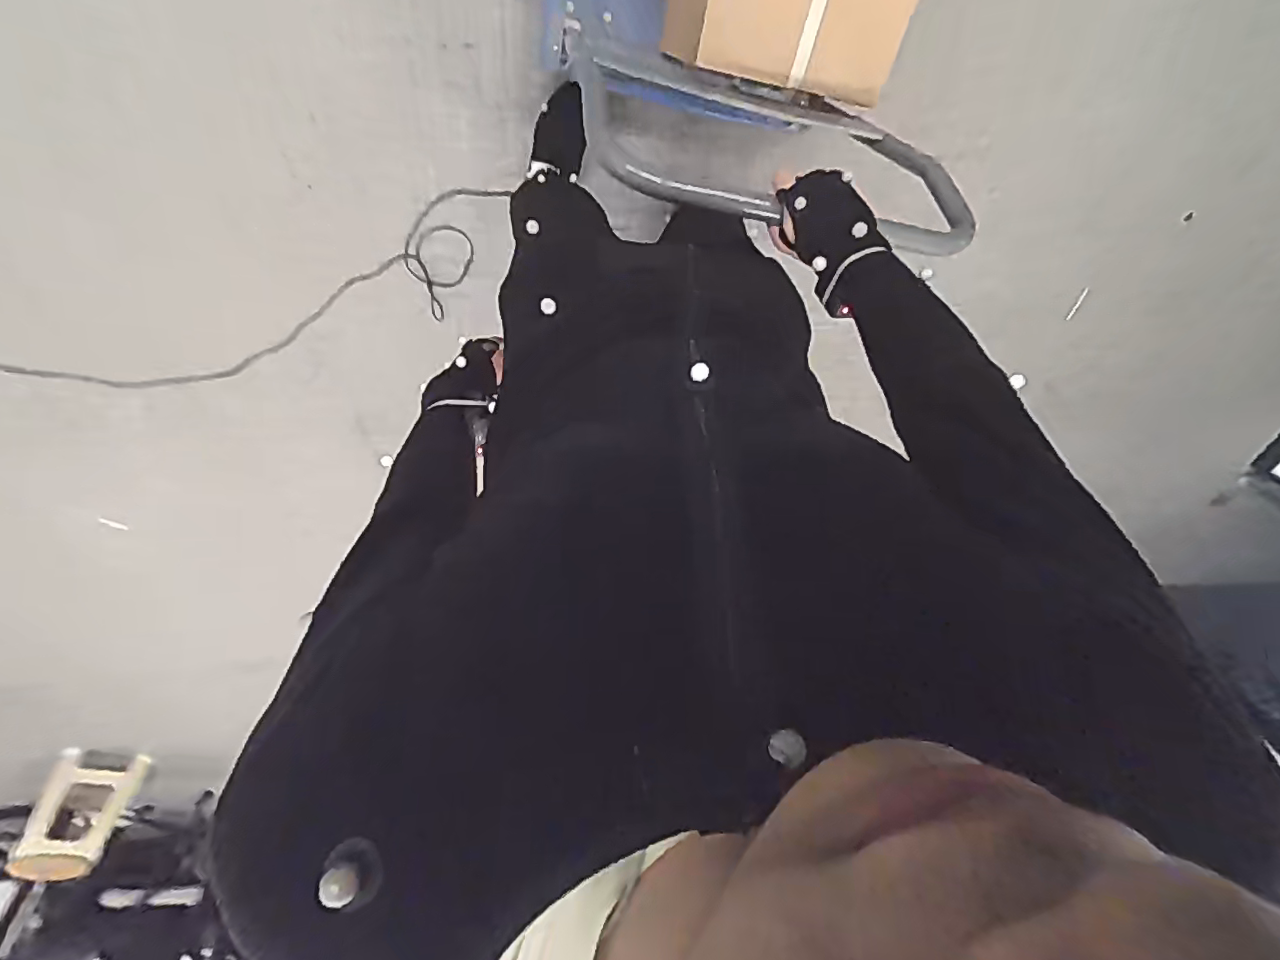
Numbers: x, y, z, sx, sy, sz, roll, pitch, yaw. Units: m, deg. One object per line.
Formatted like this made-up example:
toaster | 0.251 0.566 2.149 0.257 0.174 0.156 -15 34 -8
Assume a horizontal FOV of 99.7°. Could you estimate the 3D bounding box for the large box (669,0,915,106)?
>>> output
large box | 0.250 -0.860 0.839 0.320 0.320 0.408 2 130 -13
